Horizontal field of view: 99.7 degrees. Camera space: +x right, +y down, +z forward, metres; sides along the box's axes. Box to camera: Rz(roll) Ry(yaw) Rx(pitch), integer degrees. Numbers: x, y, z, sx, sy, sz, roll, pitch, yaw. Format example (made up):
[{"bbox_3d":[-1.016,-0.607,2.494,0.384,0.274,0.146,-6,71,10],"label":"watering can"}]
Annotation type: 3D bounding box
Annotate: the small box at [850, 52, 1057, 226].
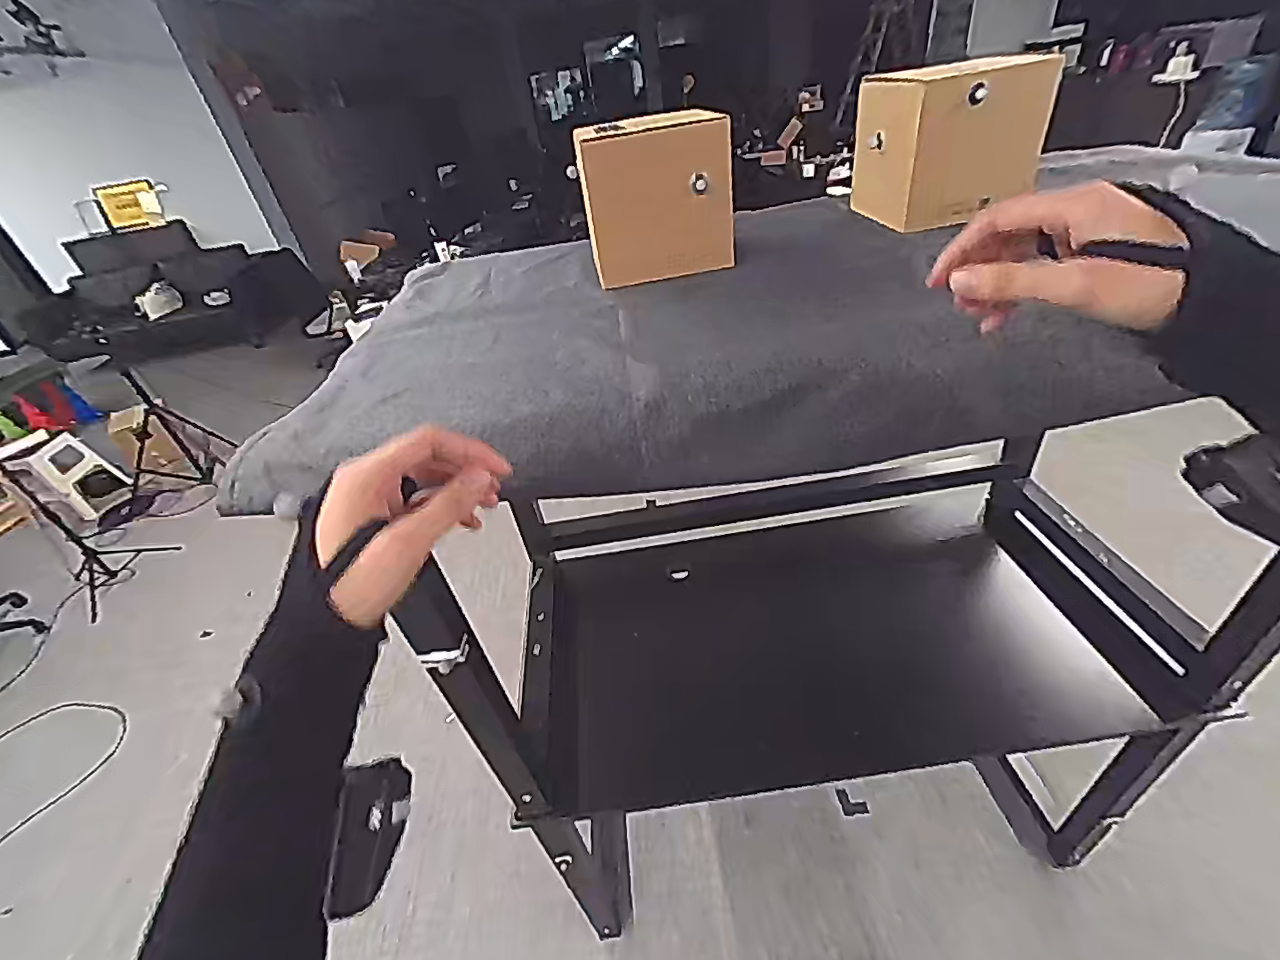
[{"bbox_3d":[0.400,-0.455,0.732,0.168,0.176,0.179,-10,36,0],"label":"small box"}]
